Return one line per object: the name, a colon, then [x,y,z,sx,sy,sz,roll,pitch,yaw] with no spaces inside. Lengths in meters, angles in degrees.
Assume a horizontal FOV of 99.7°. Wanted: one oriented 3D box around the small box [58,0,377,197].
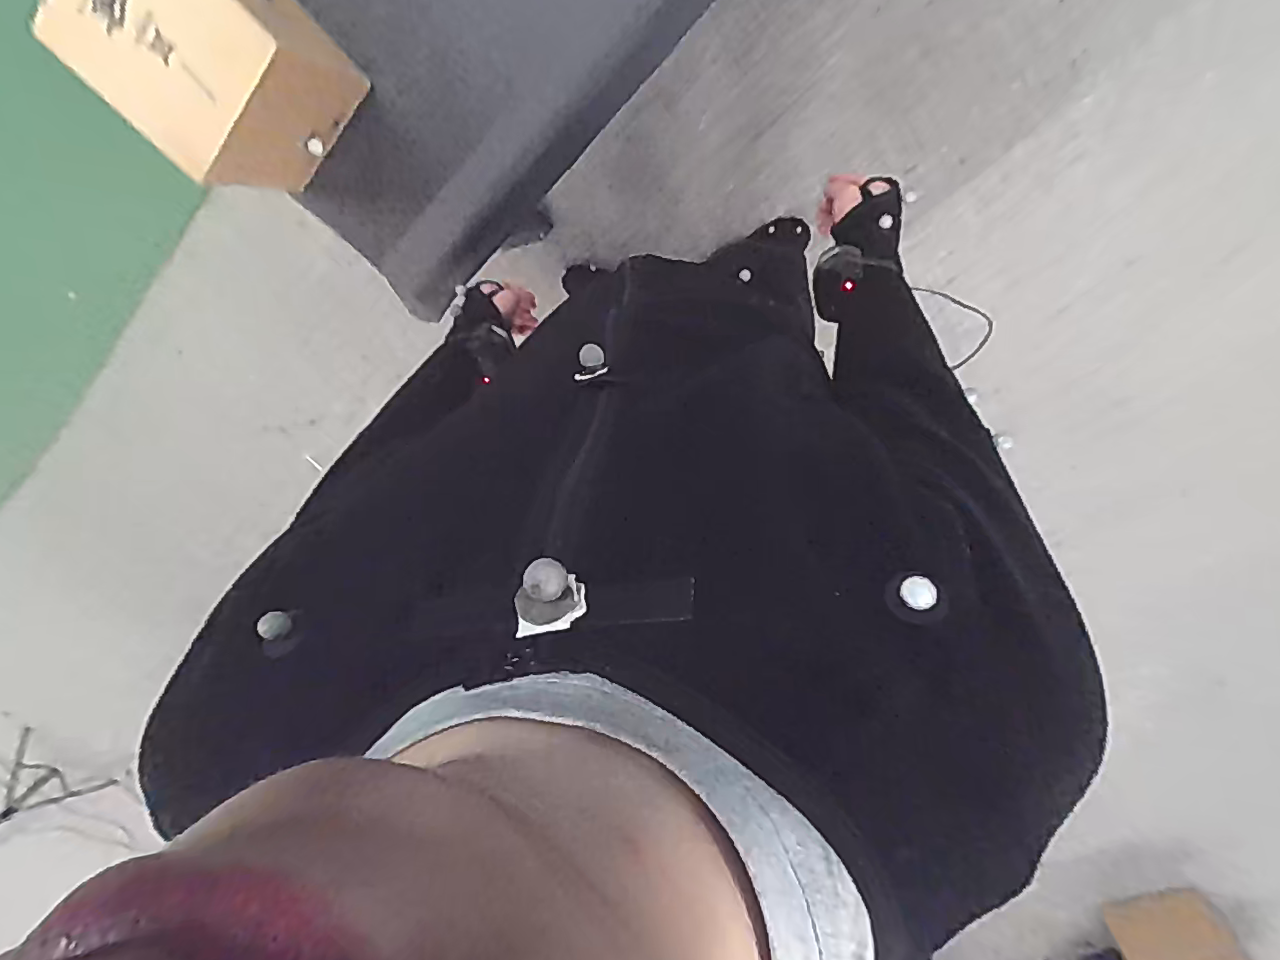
small box: [-0.433,-0.430,0.582,0.168,0.176,0.179,-40,107,21]
